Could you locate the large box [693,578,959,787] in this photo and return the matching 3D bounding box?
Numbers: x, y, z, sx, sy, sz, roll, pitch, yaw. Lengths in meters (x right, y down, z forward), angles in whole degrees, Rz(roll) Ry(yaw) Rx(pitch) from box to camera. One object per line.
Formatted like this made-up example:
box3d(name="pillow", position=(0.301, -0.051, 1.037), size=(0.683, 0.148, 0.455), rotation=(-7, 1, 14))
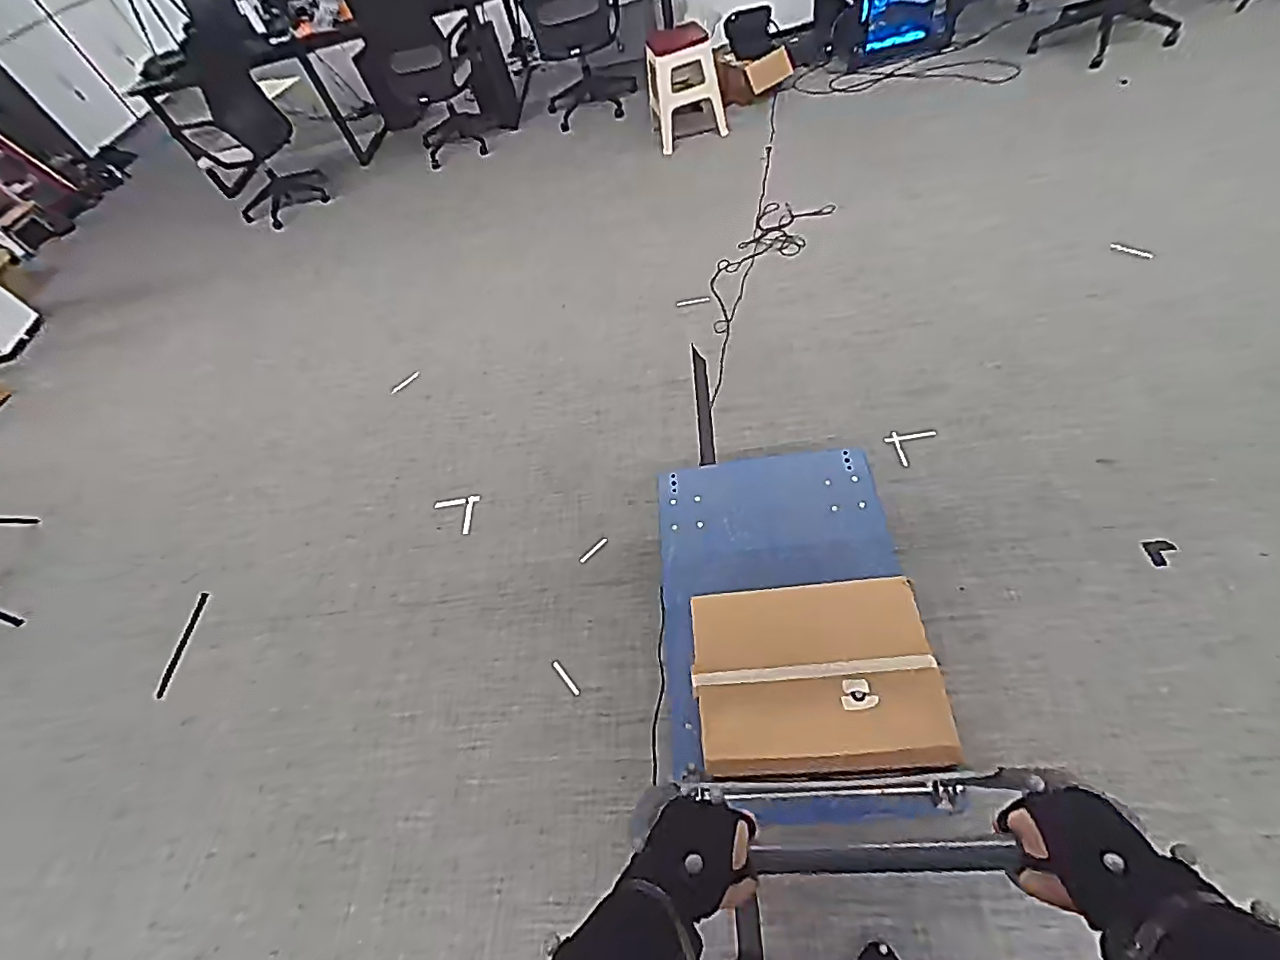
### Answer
box3d(name="large box", position=(0.332, 0.418, 1.081), size=(0.408, 0.320, 0.320), rotation=(-8, 58, 8))
